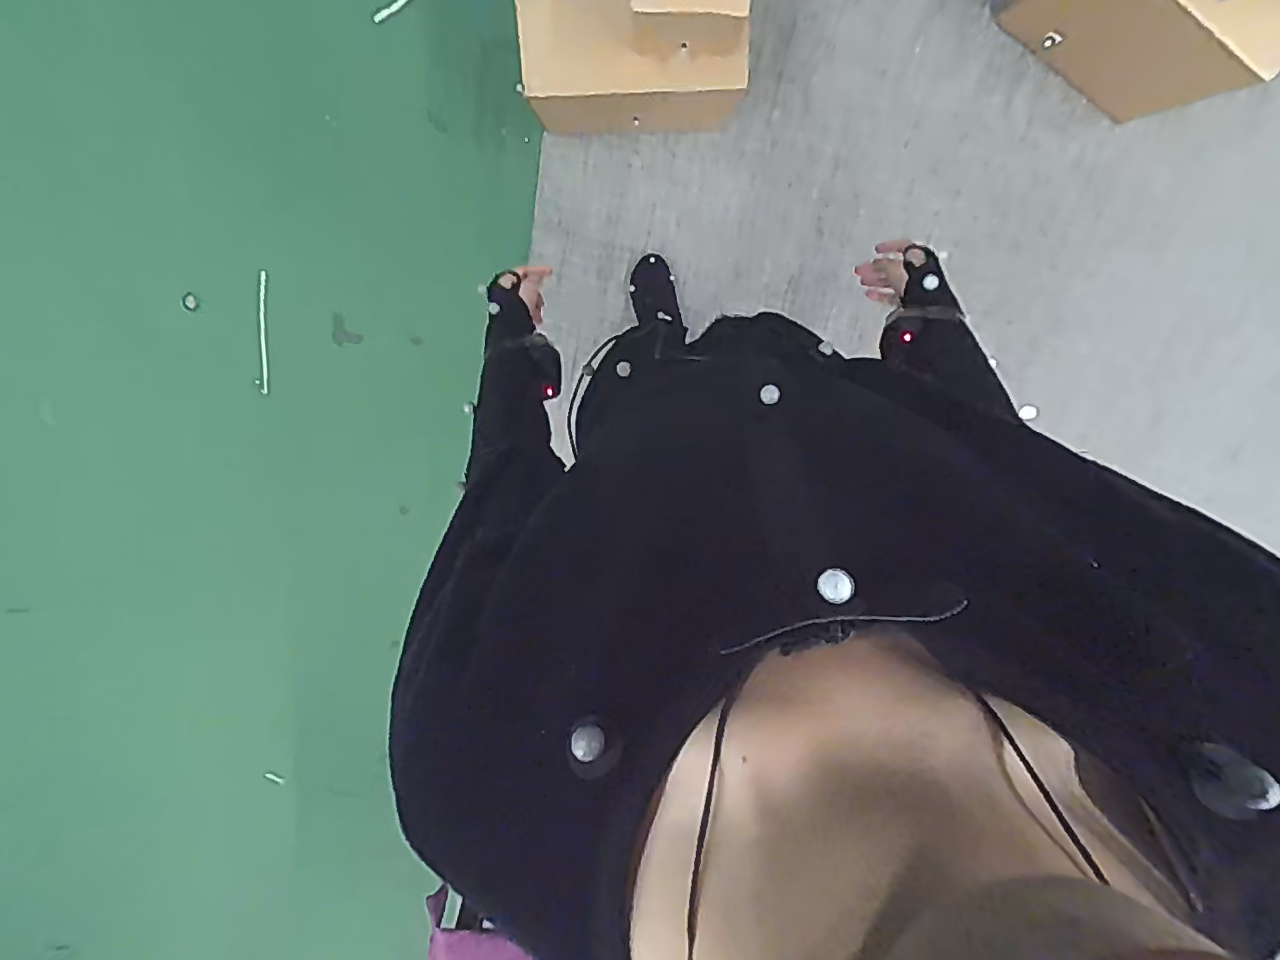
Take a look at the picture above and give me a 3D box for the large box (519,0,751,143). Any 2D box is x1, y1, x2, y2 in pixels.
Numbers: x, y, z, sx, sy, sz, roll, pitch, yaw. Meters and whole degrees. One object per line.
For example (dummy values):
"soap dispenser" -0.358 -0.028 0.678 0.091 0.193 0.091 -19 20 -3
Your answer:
"large box" -0.006 -0.876 1.057 0.408 0.320 0.320 -2 110 2

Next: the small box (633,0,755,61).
"small box" 0.080 -0.774 0.832 0.179 0.176 0.168 2 111 -1
